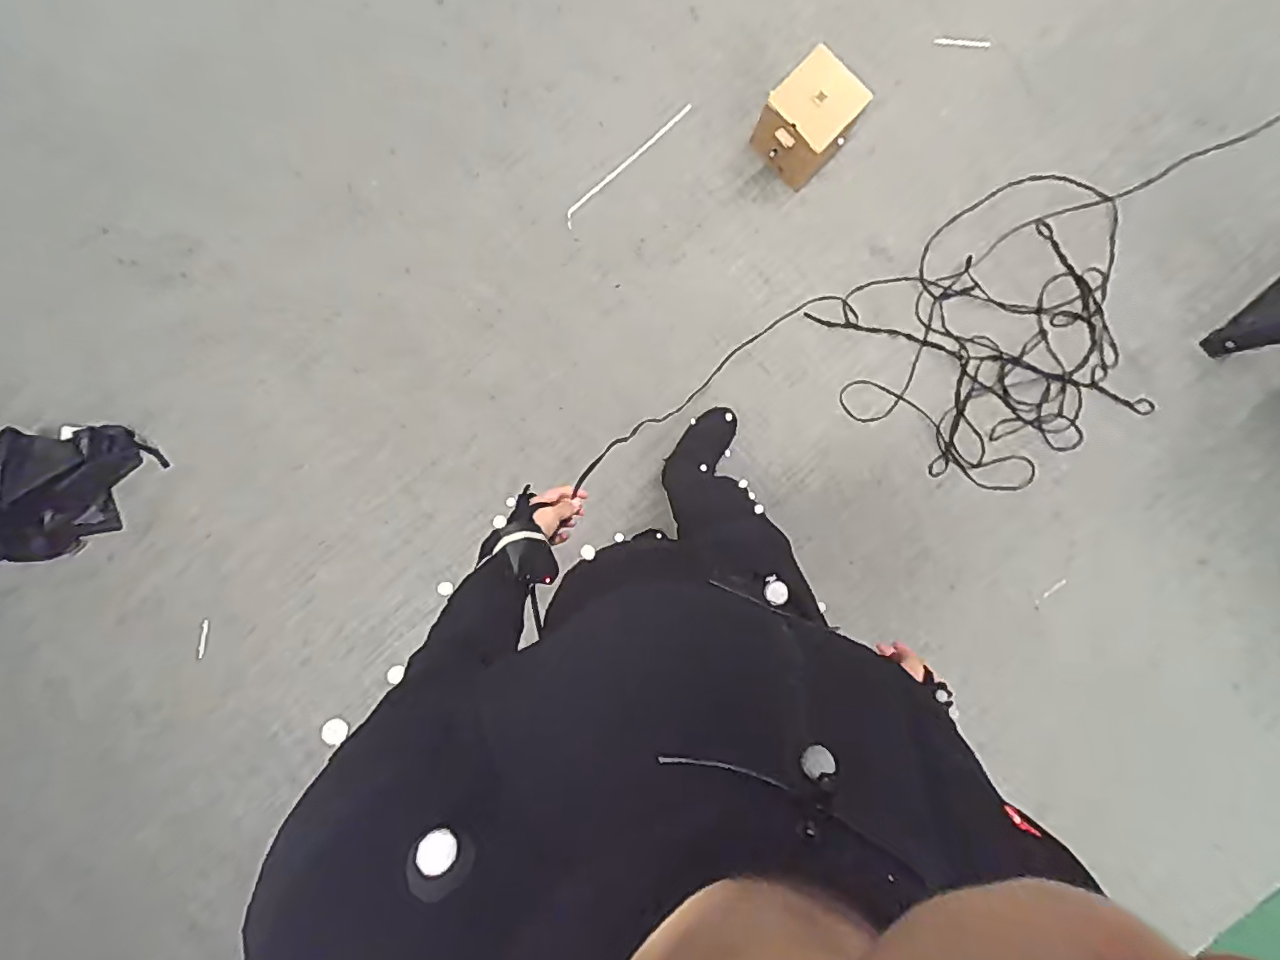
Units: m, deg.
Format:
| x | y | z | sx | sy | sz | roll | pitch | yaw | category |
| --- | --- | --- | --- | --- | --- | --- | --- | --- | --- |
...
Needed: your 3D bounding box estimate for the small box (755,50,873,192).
| x | y | z | sx | sy | sz | roll | pitch | yaw | category |
| --- | --- | --- | --- | --- | --- | --- | --- | --- | --- |
| 0.395 | -0.826 | 1.261 | 0.168 | 0.176 | 0.179 | 44 | 91 | -2 | small box |
